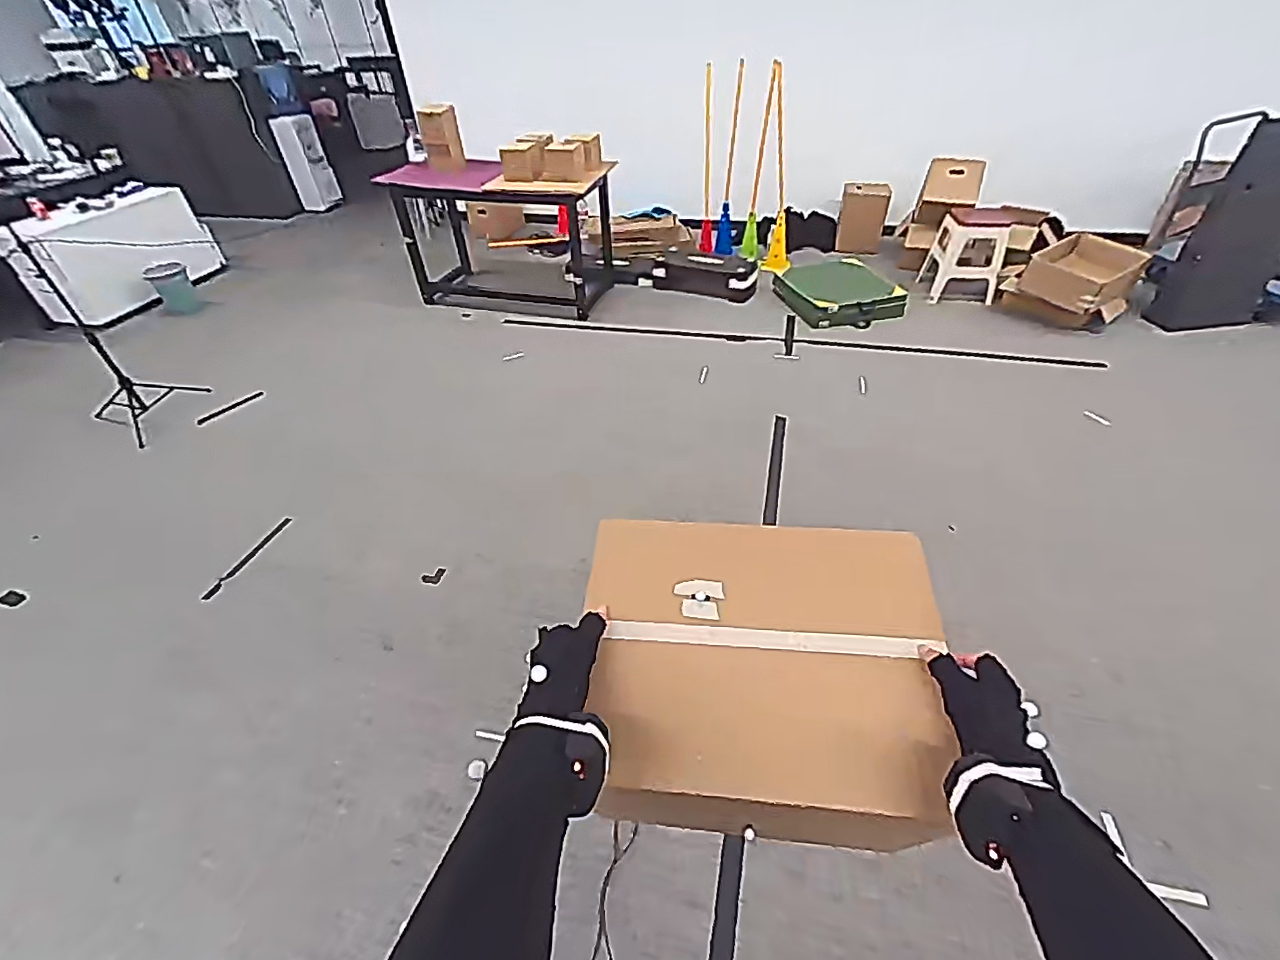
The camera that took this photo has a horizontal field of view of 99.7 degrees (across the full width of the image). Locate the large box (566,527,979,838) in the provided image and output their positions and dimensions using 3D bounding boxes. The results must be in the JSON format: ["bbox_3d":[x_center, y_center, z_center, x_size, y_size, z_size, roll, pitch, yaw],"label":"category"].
[{"bbox_3d":[0.149,0.277,0.732,0.408,0.320,0.320,1,51,8],"label":"large box"}]
